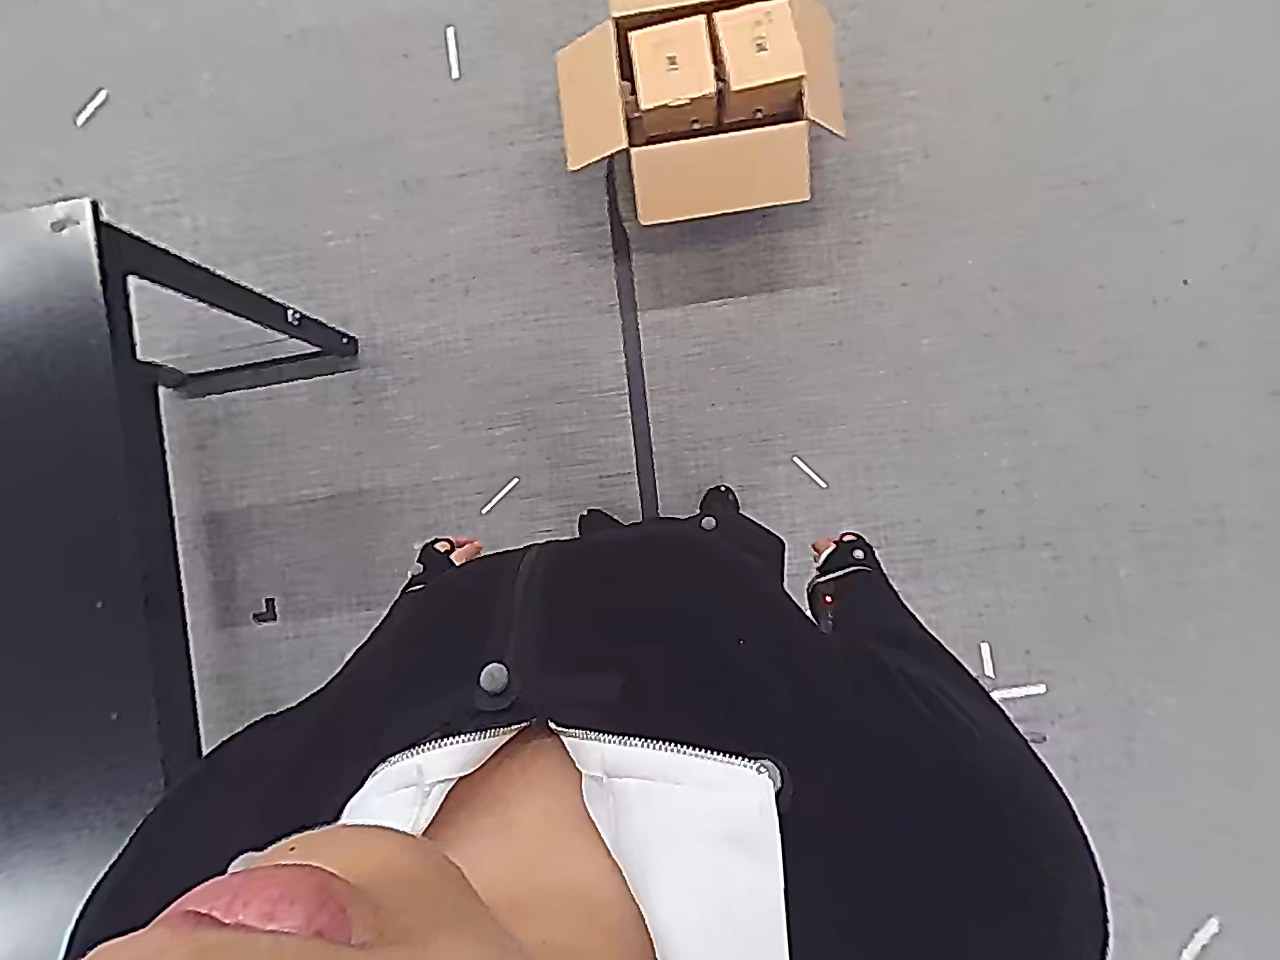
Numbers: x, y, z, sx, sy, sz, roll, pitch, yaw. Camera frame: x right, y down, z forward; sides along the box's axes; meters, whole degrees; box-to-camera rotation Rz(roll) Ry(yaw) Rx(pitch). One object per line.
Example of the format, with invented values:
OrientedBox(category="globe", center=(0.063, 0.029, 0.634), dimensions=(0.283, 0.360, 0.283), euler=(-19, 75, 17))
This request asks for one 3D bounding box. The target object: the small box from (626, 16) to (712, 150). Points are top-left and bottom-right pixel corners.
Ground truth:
OrientedBox(category="small box", center=(0.070, -0.892, 1.239), dimensions=(0.168, 0.176, 0.179), euler=(-10, 88, 5))

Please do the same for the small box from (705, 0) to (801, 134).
OrientedBox(category="small box", center=(0.247, -0.924, 1.231), dimensions=(0.168, 0.176, 0.179), euler=(-13, 89, -2))
